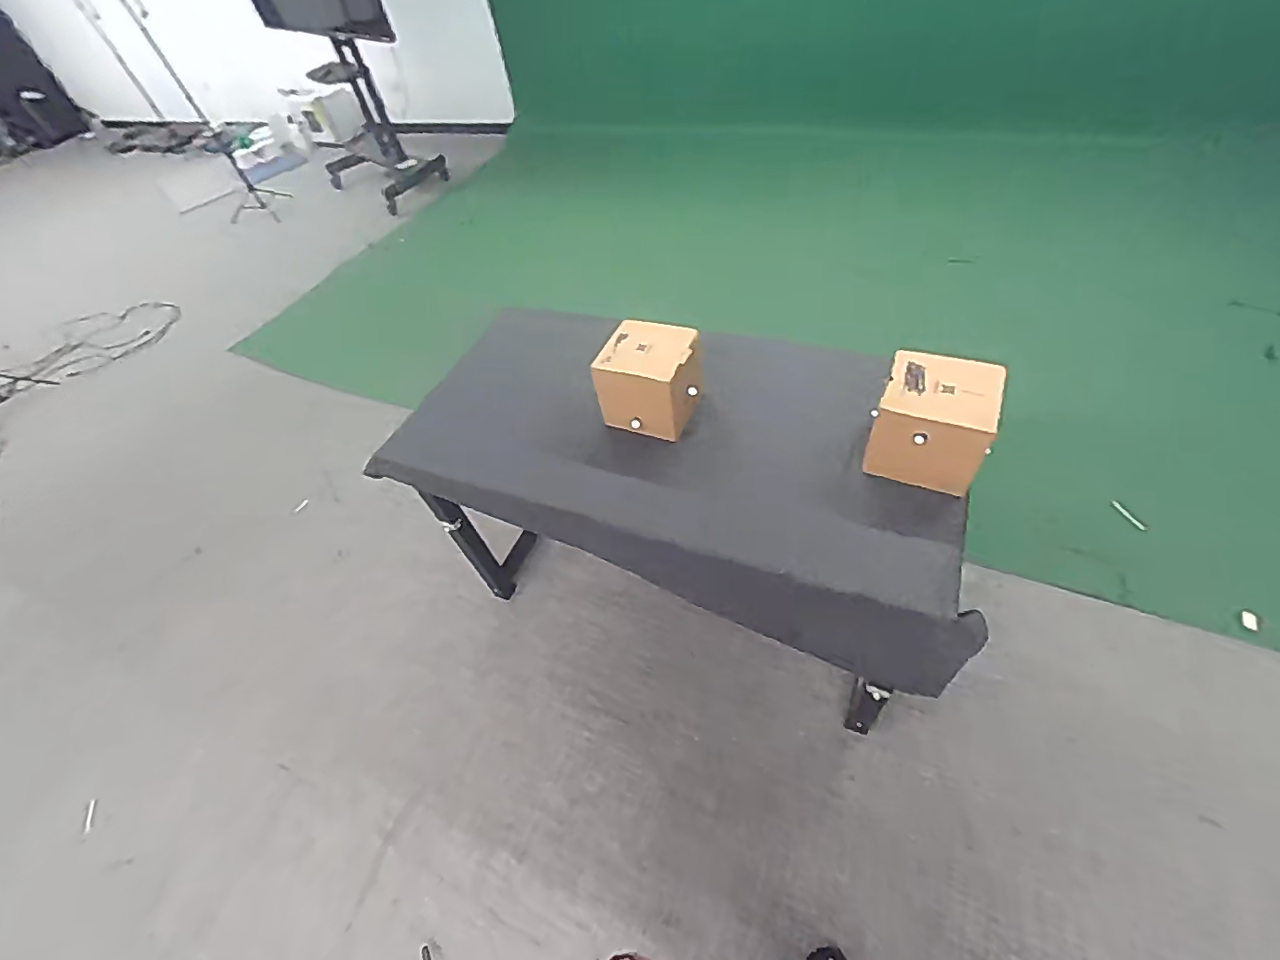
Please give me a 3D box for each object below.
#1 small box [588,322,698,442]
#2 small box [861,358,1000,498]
[{"bbox_3d":[0.014,-0.204,1.142,0.179,0.176,0.168,16,53,19],"label":"small box"},{"bbox_3d":[0.516,-0.092,0.977,0.179,0.176,0.168,18,54,20],"label":"small box"}]
